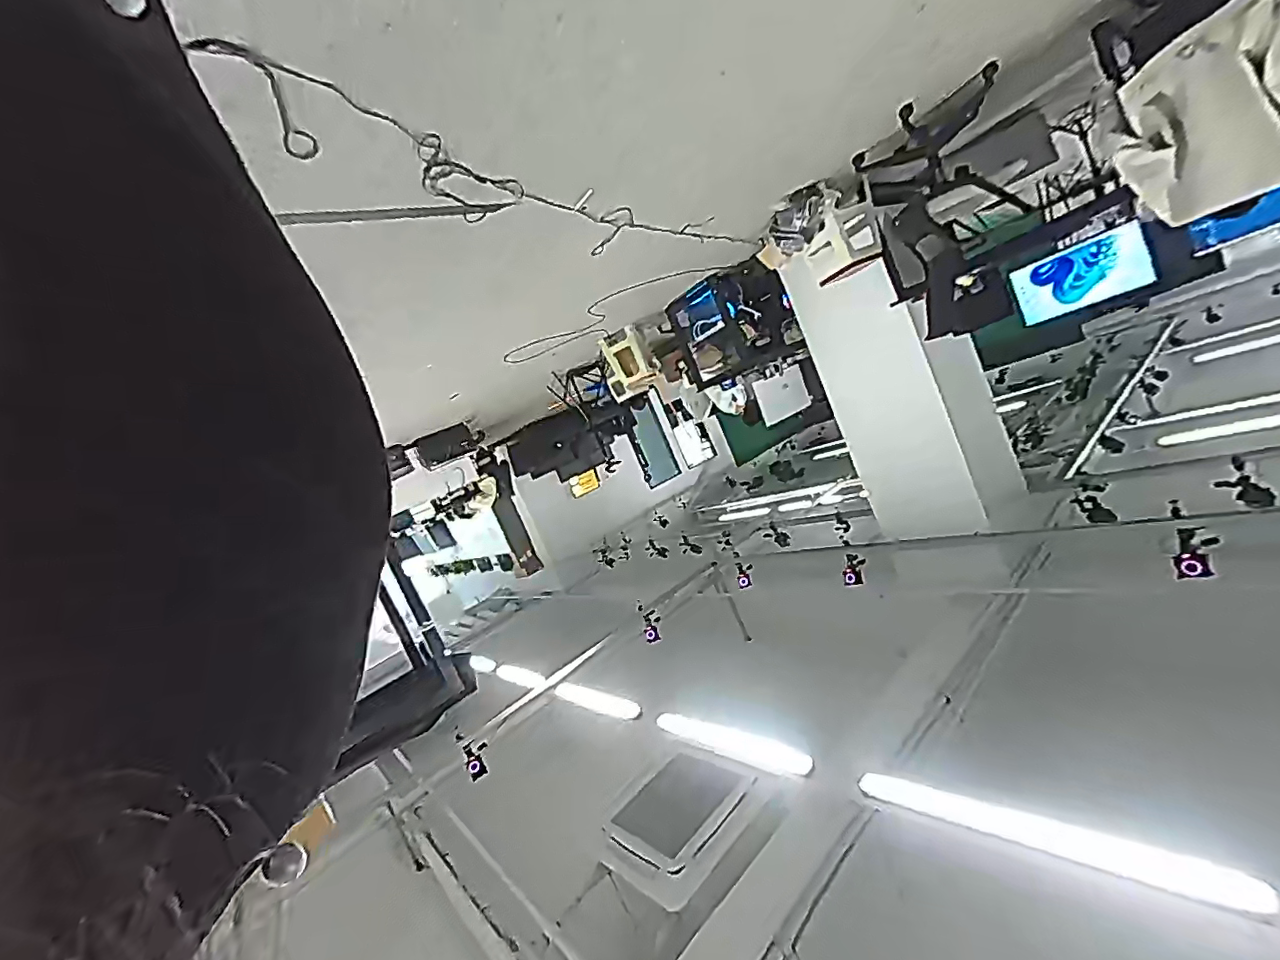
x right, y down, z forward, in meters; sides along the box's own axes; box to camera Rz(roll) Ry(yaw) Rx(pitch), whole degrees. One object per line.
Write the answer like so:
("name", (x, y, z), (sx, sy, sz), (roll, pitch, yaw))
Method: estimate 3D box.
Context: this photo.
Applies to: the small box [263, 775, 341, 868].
("small box", (-1.119, 1.119, 1.787), (0.168, 0.176, 0.179), (-27, -172, -36))
